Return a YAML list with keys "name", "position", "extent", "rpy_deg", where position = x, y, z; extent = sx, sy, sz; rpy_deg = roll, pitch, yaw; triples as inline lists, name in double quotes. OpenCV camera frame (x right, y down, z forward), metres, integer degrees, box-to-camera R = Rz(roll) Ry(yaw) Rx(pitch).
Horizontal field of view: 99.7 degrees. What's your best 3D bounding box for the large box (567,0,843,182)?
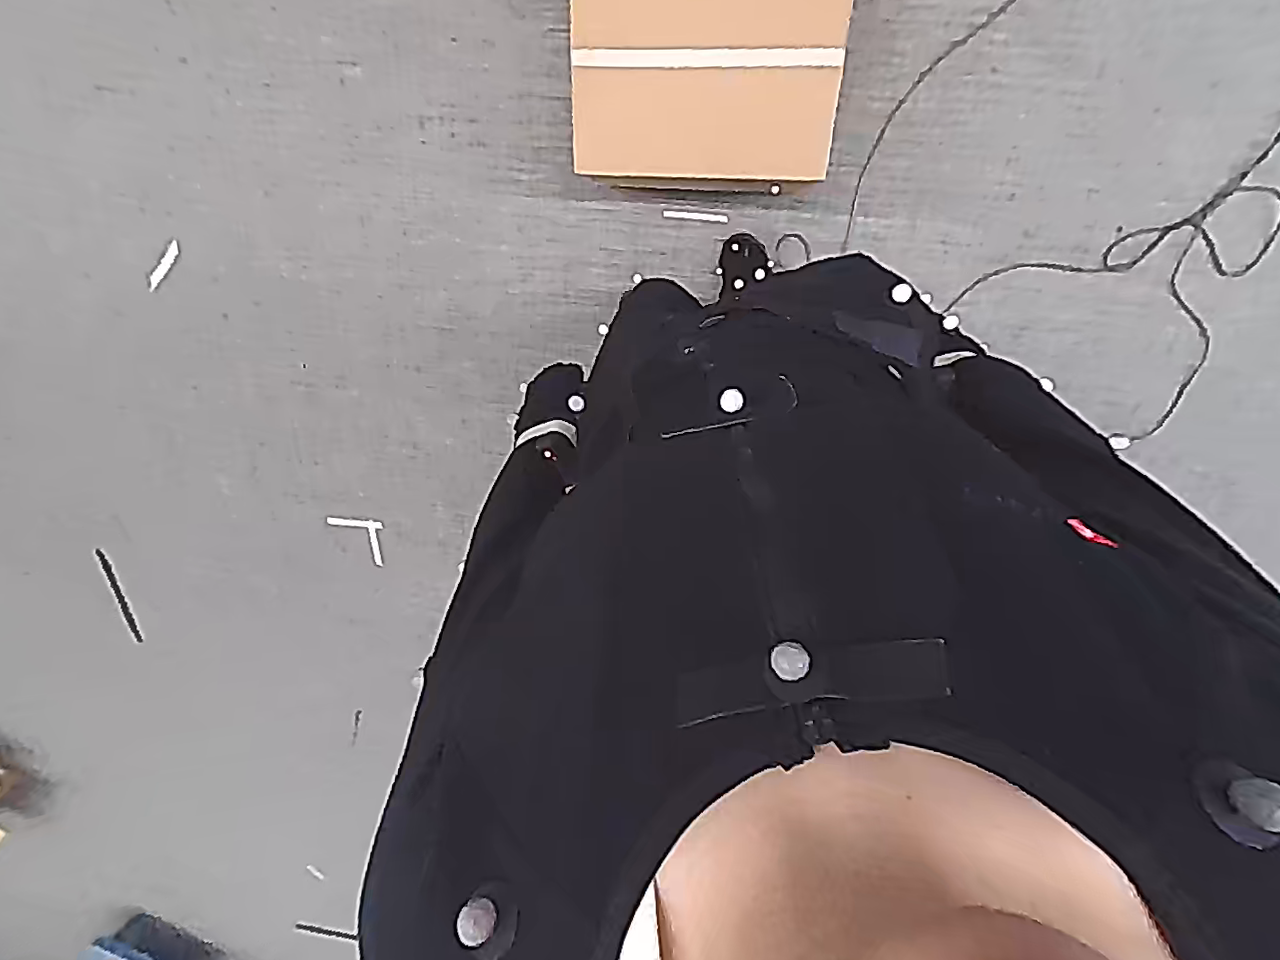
- name: "large box"
  position: [0.107, -0.697, 0.936]
  extent: [0.408, 0.320, 0.320]
  rpy_deg: [5, 115, 5]
